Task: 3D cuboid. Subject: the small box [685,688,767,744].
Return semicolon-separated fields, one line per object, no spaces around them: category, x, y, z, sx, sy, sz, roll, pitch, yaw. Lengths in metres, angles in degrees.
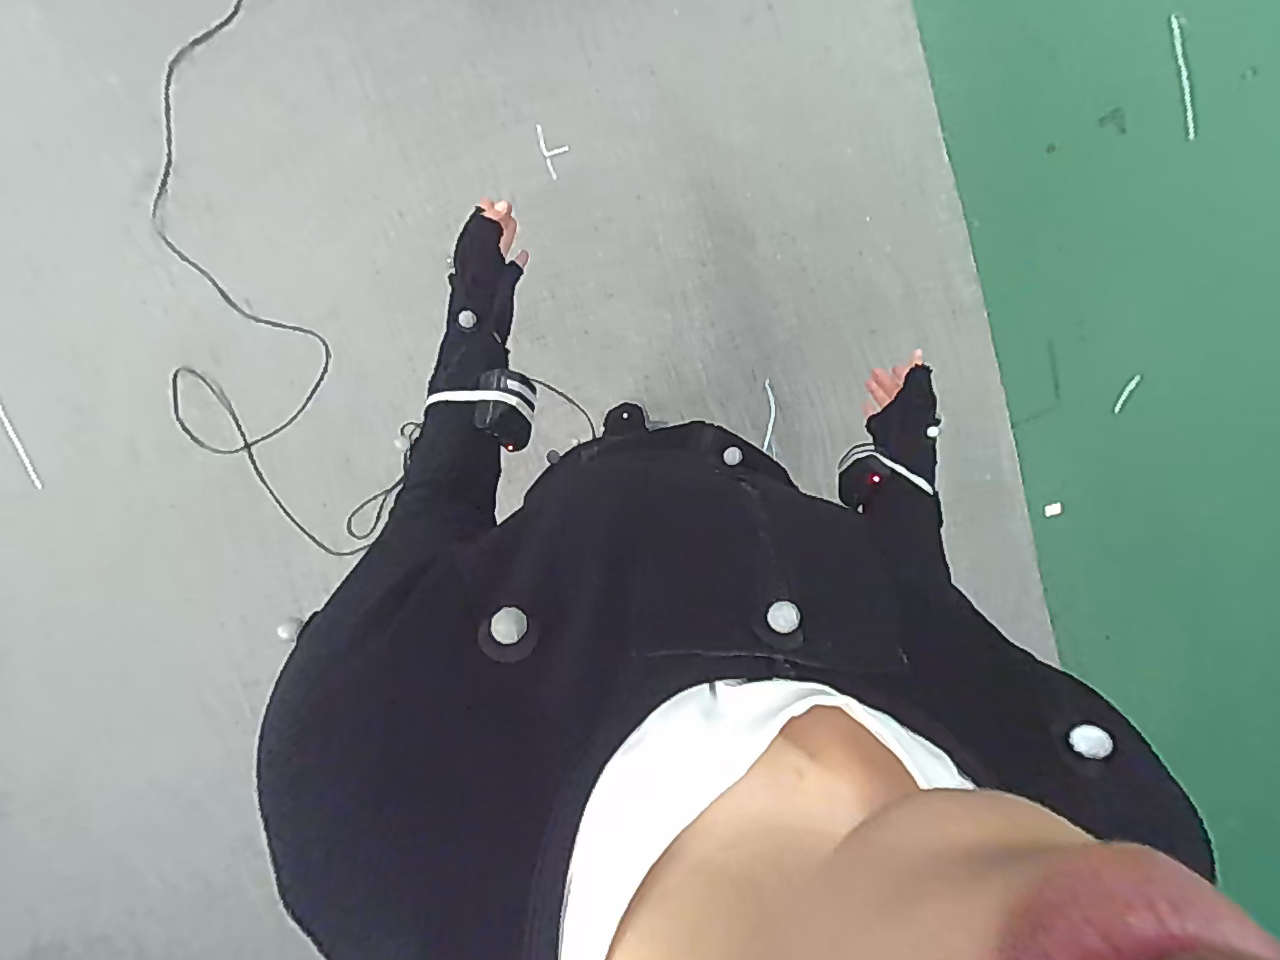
small box;0.213;0.608;1.250;0.168;0.176;0.179;-20;98;-2

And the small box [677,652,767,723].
small box;0.212;0.580;1.430;0.168;0.176;0.179;-24;99;-2
